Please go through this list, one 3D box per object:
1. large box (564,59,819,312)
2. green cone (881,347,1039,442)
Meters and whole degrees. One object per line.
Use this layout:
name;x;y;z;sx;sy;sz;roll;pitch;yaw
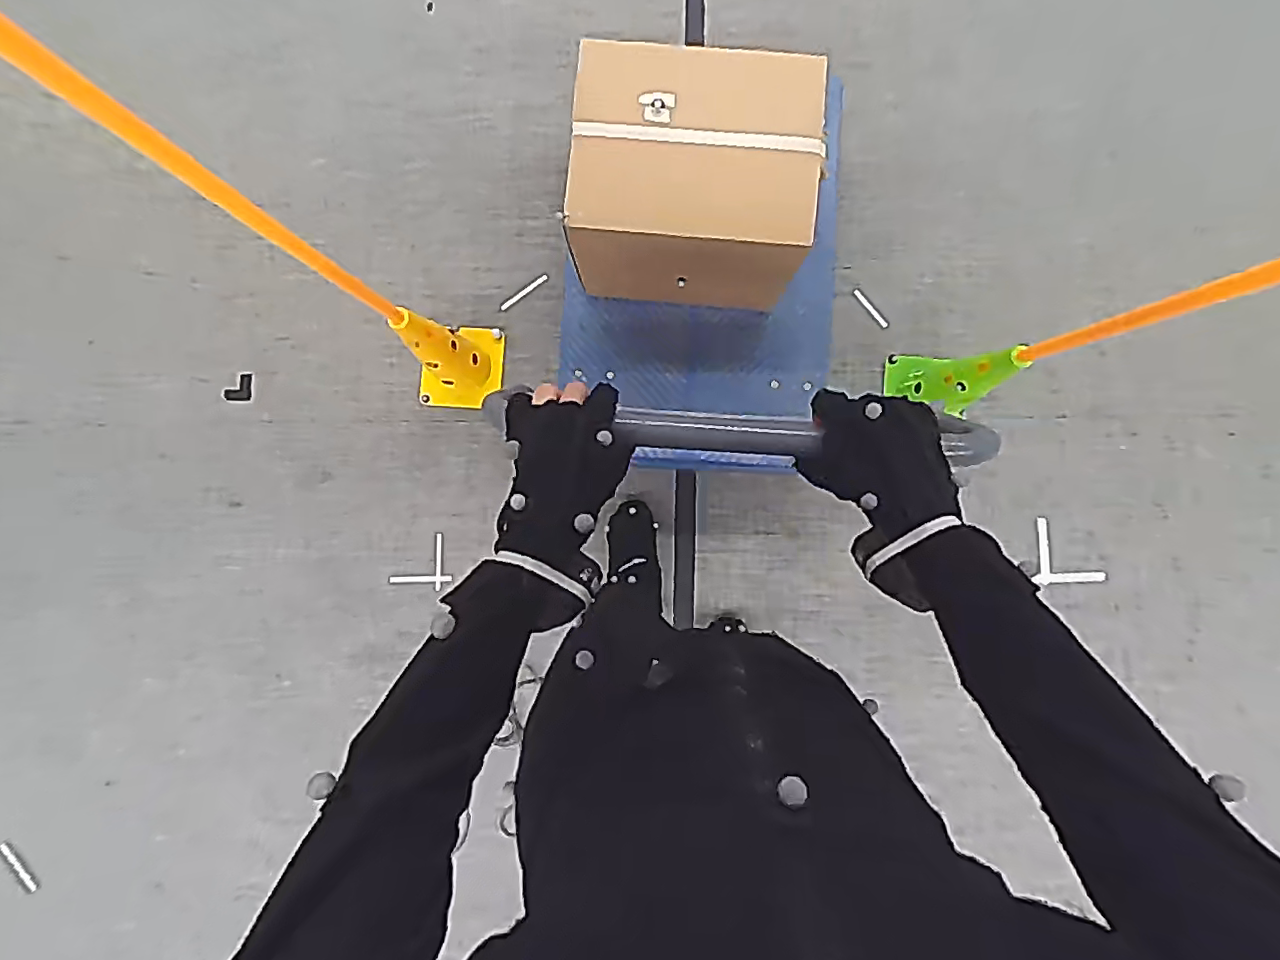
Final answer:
large box;0.091;-0.527;1.031;0.408;0.320;0.320;5;88;2
green cone;0.688;-0.206;1.141;0.202;0.368;0.200;4;87;0
